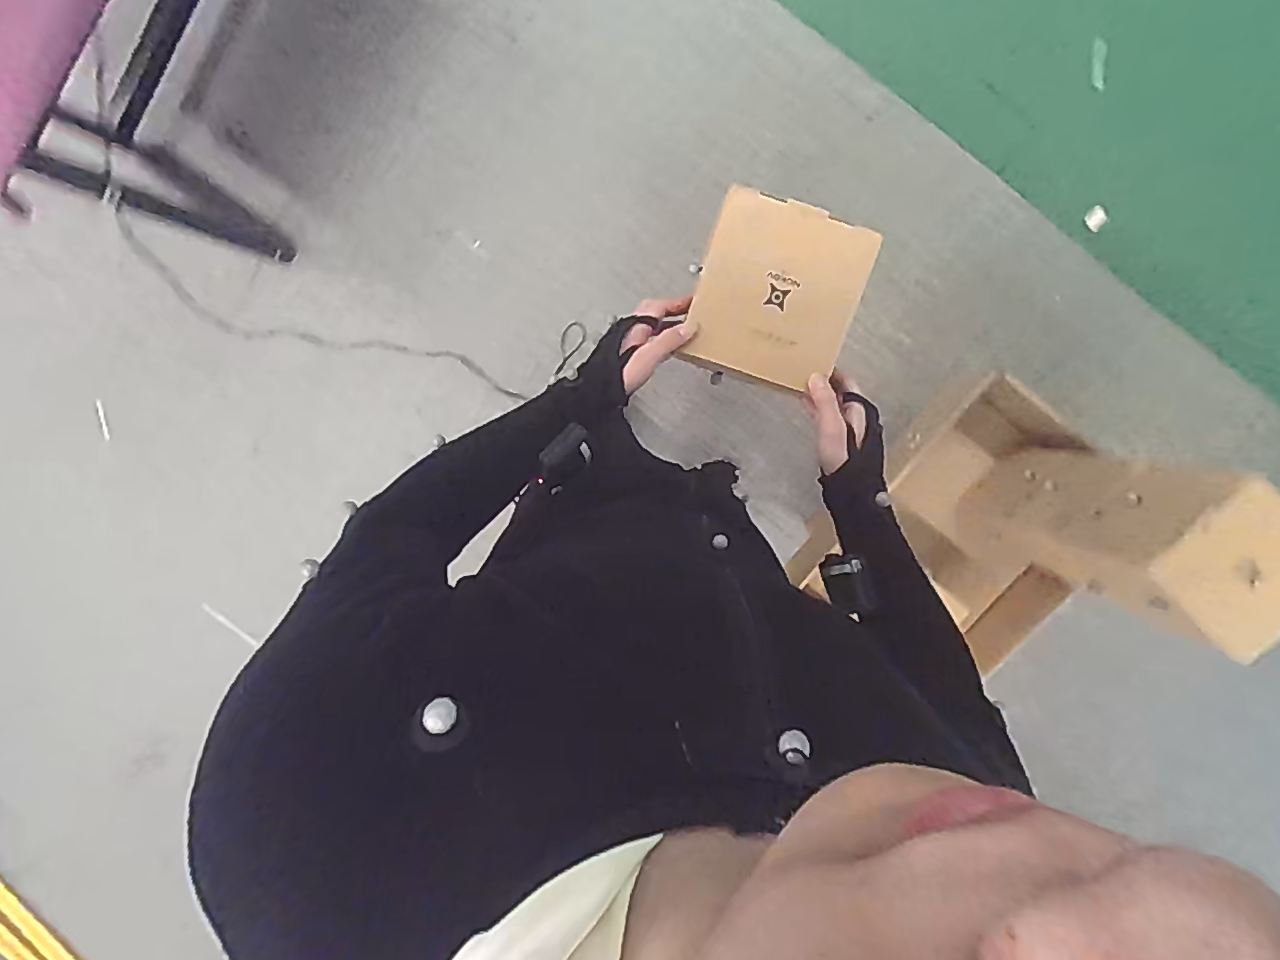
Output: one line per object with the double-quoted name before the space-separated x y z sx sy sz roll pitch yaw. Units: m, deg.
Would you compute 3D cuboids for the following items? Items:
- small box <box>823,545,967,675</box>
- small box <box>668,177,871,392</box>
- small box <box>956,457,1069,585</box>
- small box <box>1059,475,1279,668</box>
"small box" 0.503 0.251 1.102 0.179 0.176 0.168 39 99 -1
"small box" 0.133 -0.211 0.633 0.168 0.176 0.179 17 100 -2
"small box" 0.773 0.068 1.057 0.179 0.176 0.168 41 98 0
"small box" 0.742 0.110 0.736 0.179 0.176 0.168 45 99 0
